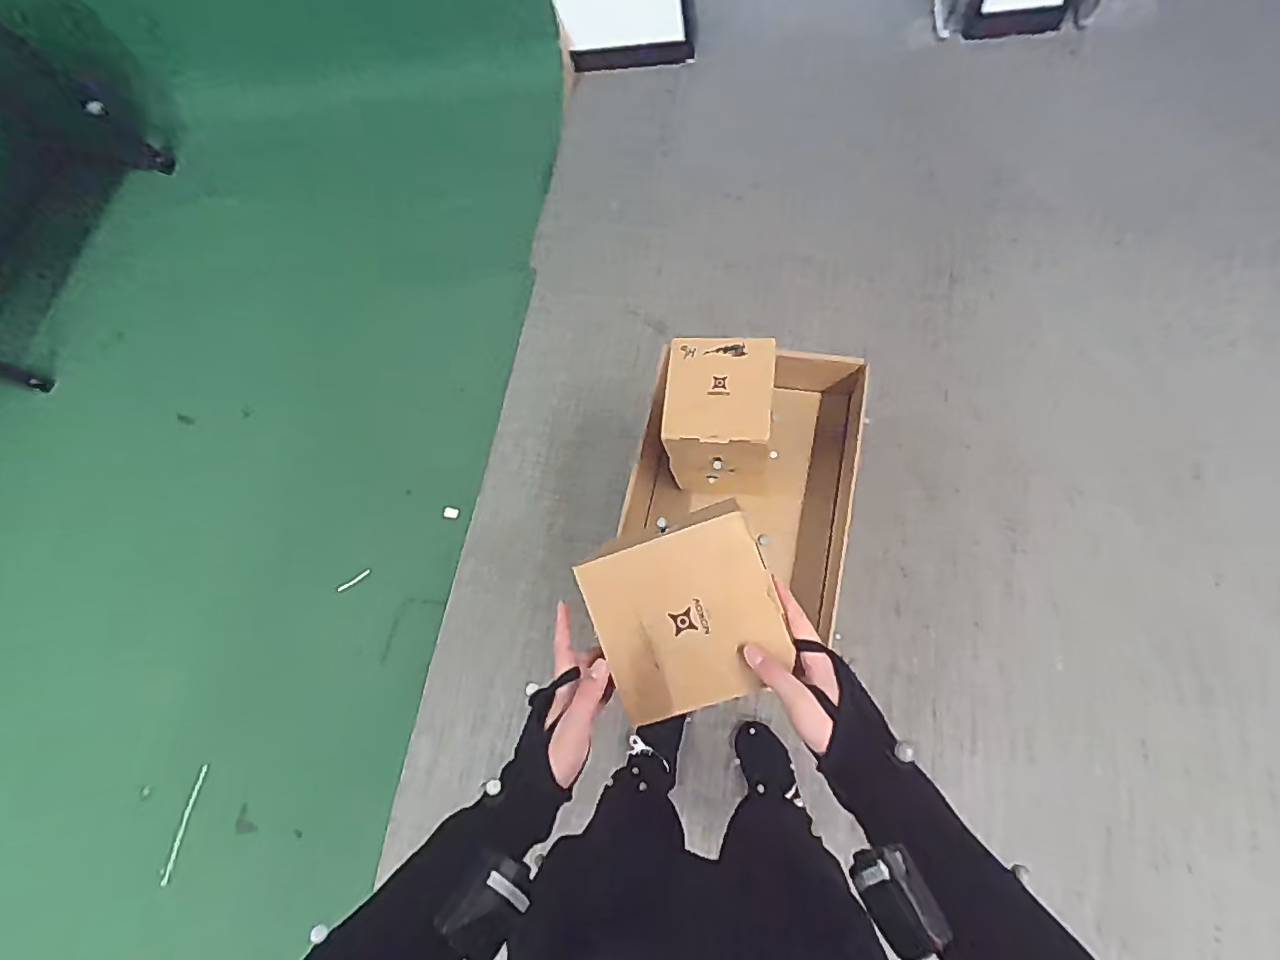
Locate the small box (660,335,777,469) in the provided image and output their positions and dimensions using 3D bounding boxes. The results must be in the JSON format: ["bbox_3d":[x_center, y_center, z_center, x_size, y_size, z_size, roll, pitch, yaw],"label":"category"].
[{"bbox_3d":[0.137,-0.123,0.899,0.168,0.176,0.179,4,76,13],"label":"small box"}]

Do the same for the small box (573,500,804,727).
[{"bbox_3d":[0.051,0.126,0.577,0.179,0.176,0.168,-20,88,7],"label":"small box"}]
